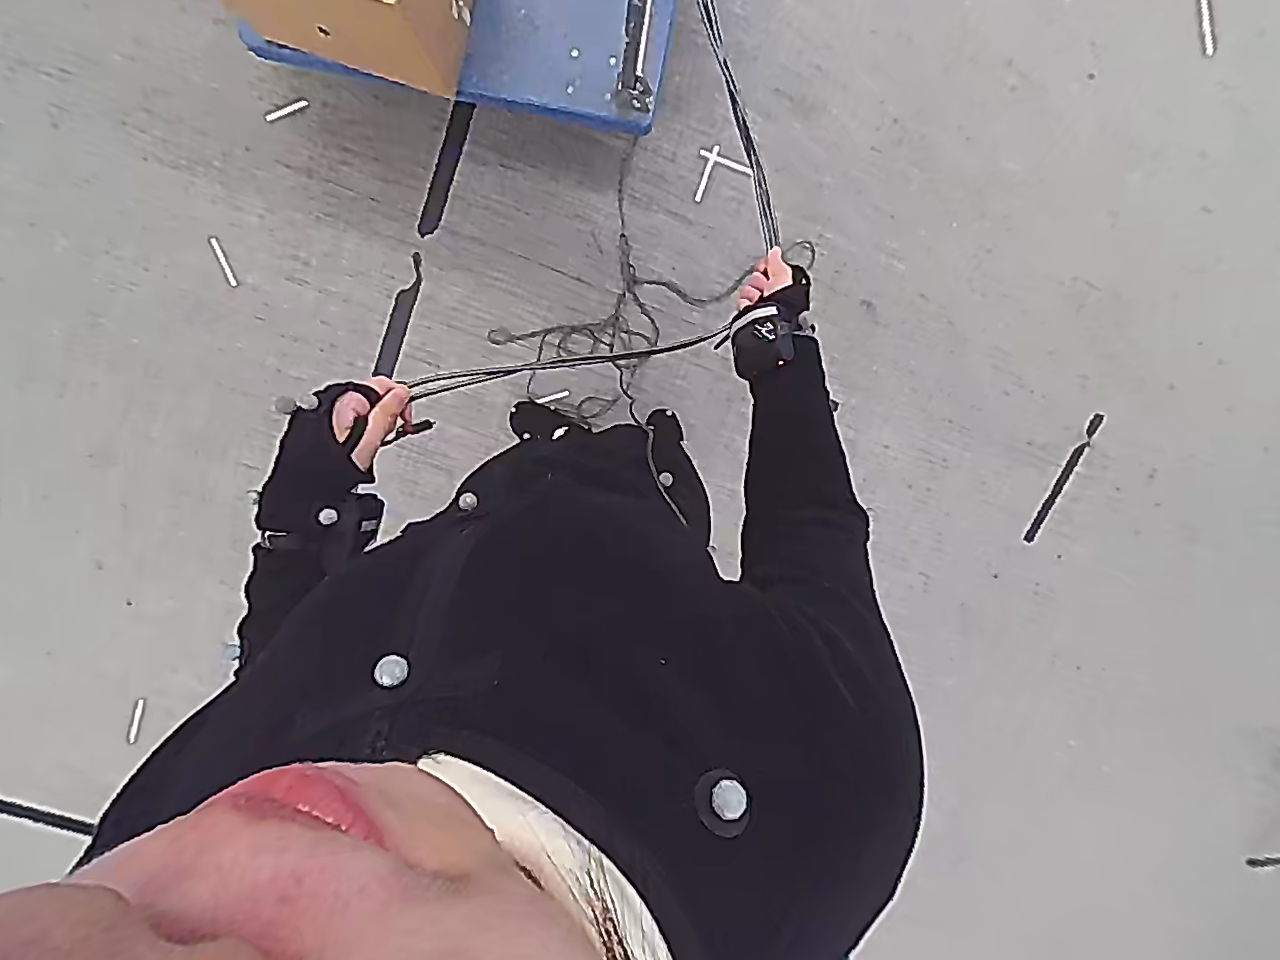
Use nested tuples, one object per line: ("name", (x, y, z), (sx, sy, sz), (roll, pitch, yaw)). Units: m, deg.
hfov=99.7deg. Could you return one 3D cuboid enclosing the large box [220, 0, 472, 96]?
("large box", (-0.533, -0.956, 0.941), (0.408, 0.320, 0.320), (15, 100, -4))
